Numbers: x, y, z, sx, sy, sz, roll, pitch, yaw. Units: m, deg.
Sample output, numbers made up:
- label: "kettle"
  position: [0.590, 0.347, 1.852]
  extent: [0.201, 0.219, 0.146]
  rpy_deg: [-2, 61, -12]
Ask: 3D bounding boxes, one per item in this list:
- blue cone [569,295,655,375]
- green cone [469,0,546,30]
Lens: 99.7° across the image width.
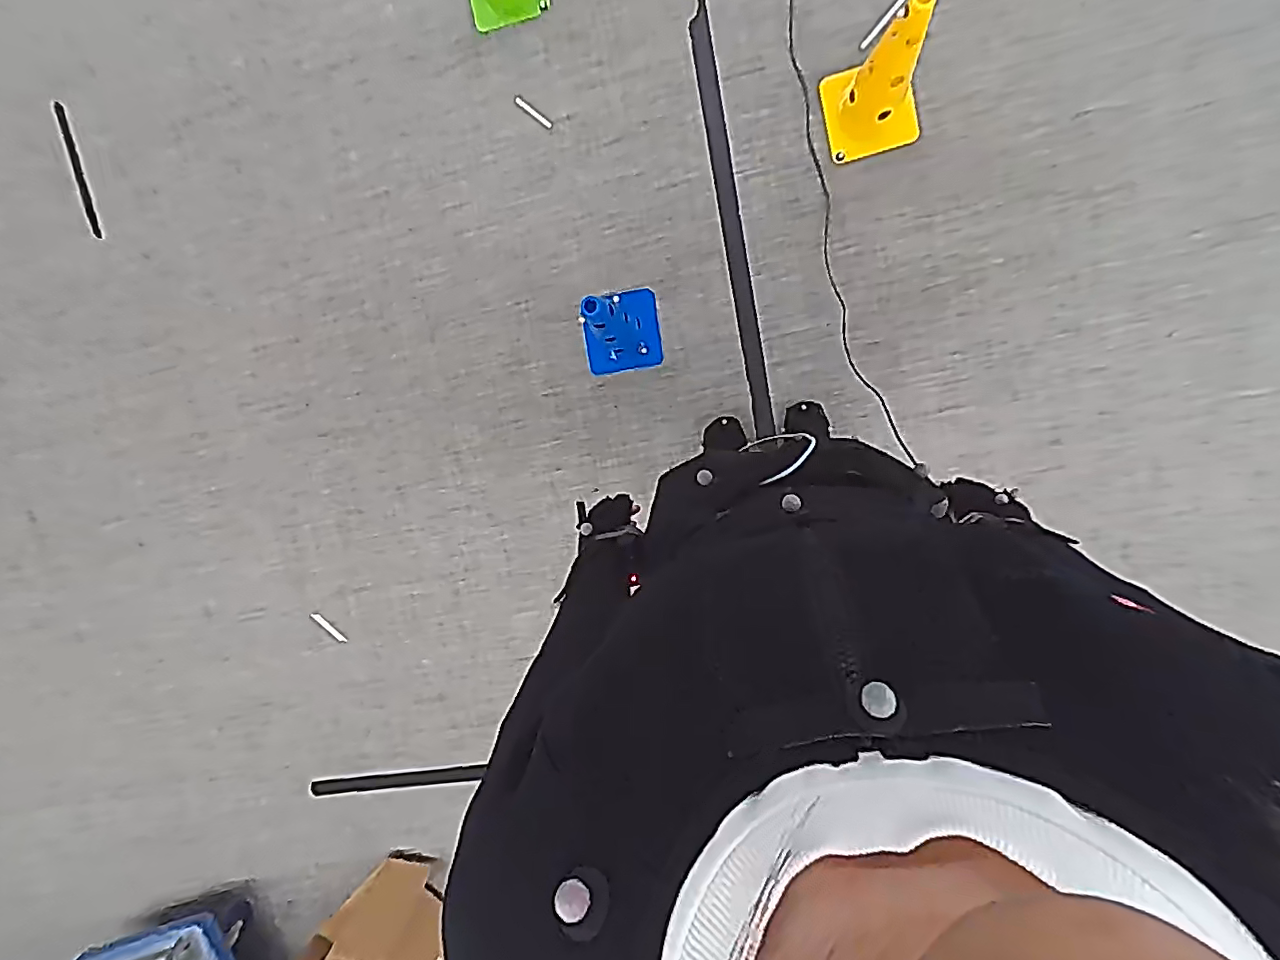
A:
- label: "blue cone"
  position: [-0.087, -0.365, 1.265]
  extent: [0.192, 0.380, 0.193]
  rpy_deg: [-6, 96, 10]
- label: "green cone"
  position: [-0.370, -1.236, 1.185]
  extent: [0.202, 0.368, 0.200]
  rpy_deg: [-10, 95, 10]
